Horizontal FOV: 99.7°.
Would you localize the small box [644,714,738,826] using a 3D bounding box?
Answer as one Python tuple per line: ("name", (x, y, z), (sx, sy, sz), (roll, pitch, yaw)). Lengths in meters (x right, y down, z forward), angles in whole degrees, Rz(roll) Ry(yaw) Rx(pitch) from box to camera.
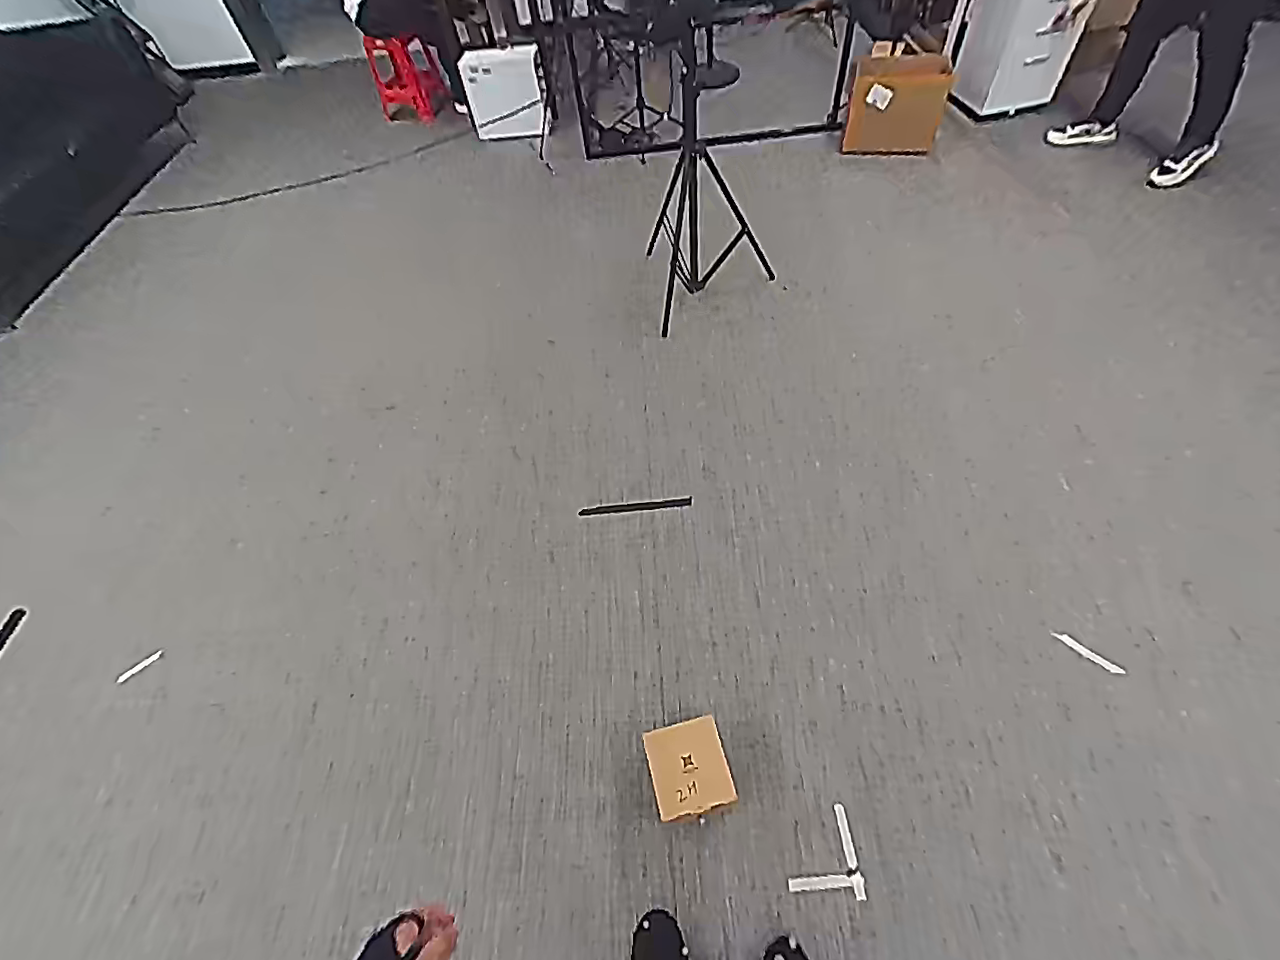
("small box", (0.112, 0.655, 1.217), (0.168, 0.176, 0.179), (-15, 54, -3))
